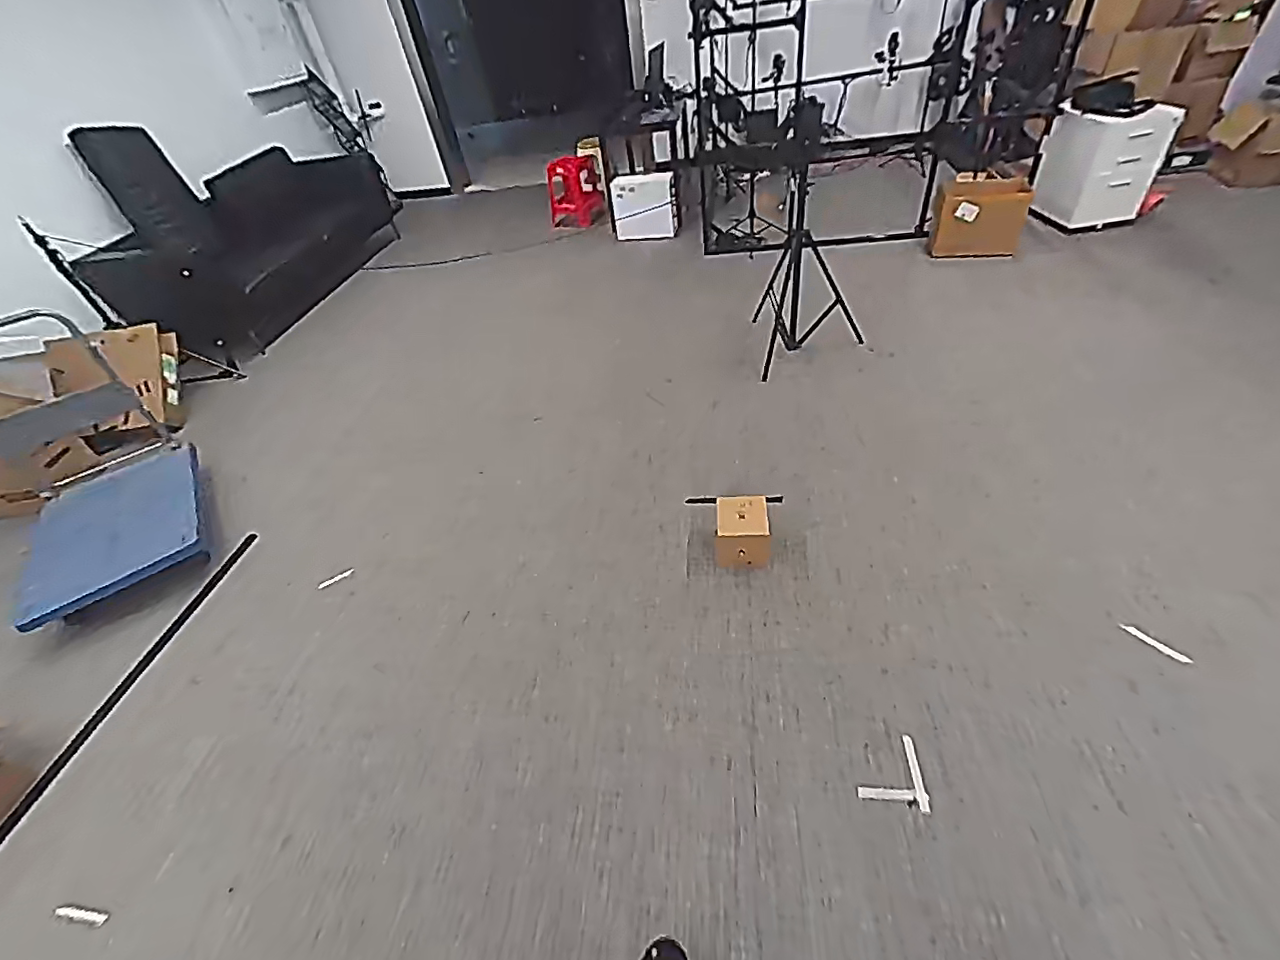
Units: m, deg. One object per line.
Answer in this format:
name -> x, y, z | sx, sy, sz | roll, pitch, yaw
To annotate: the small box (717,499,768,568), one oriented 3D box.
small box -> 0.348, 0.184, 1.834 | 0.168, 0.176, 0.179 | -2, 42, 9
